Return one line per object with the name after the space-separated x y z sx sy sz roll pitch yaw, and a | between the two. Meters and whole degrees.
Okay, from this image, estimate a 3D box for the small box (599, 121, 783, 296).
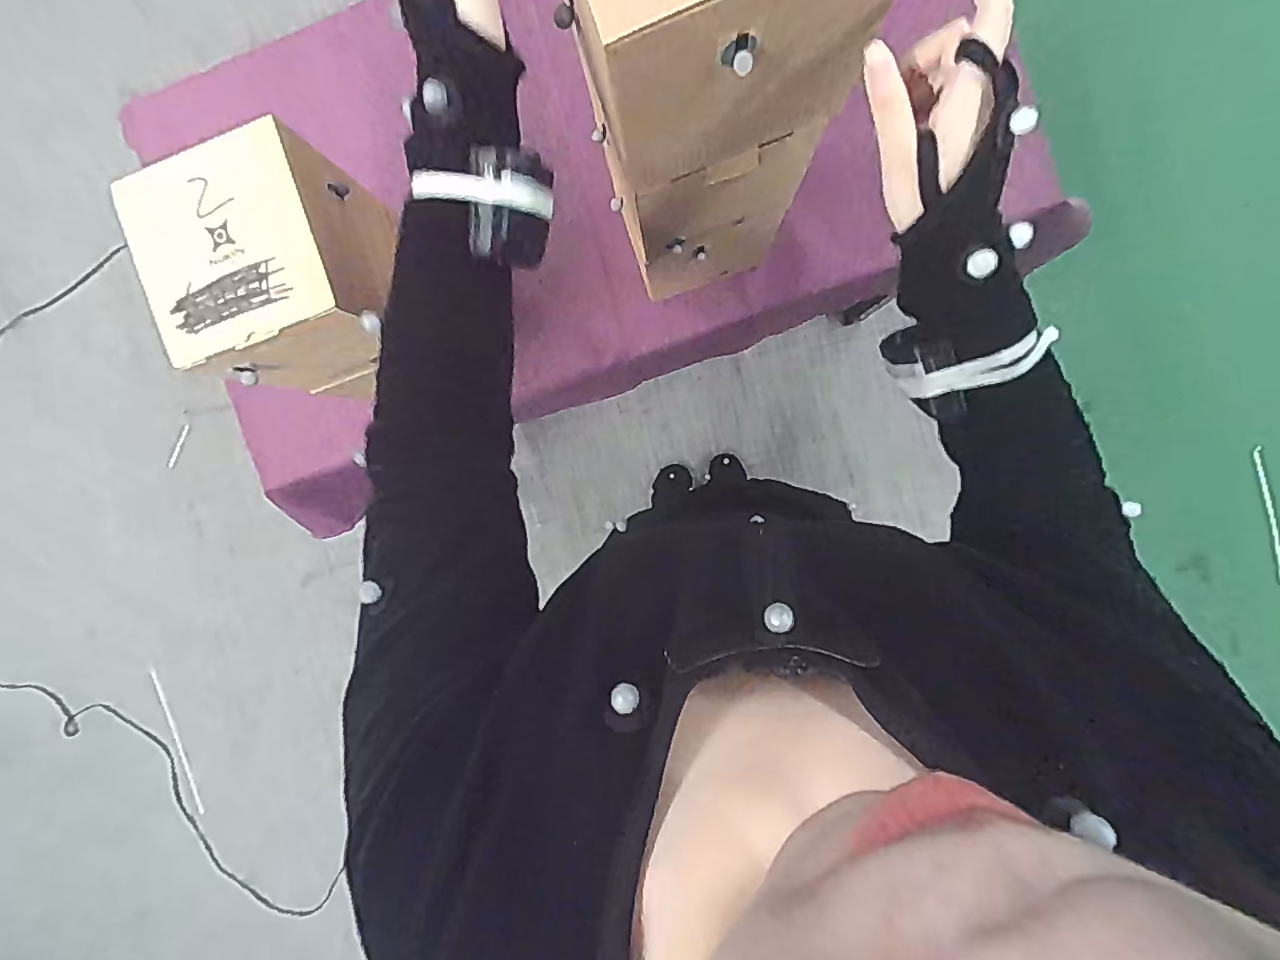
0.061 -0.356 0.673 0.168 0.176 0.179 -18 92 7 | small box

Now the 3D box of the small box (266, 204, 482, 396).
-0.335 -0.221 0.715 0.168 0.176 0.179 -17 94 6 | small box

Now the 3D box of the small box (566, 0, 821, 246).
0.049 -0.345 0.509 0.168 0.176 0.179 -19 92 5 | small box

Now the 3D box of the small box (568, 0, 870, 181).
0.039 -0.329 0.345 0.179 0.176 0.168 -18 94 5 | small box
